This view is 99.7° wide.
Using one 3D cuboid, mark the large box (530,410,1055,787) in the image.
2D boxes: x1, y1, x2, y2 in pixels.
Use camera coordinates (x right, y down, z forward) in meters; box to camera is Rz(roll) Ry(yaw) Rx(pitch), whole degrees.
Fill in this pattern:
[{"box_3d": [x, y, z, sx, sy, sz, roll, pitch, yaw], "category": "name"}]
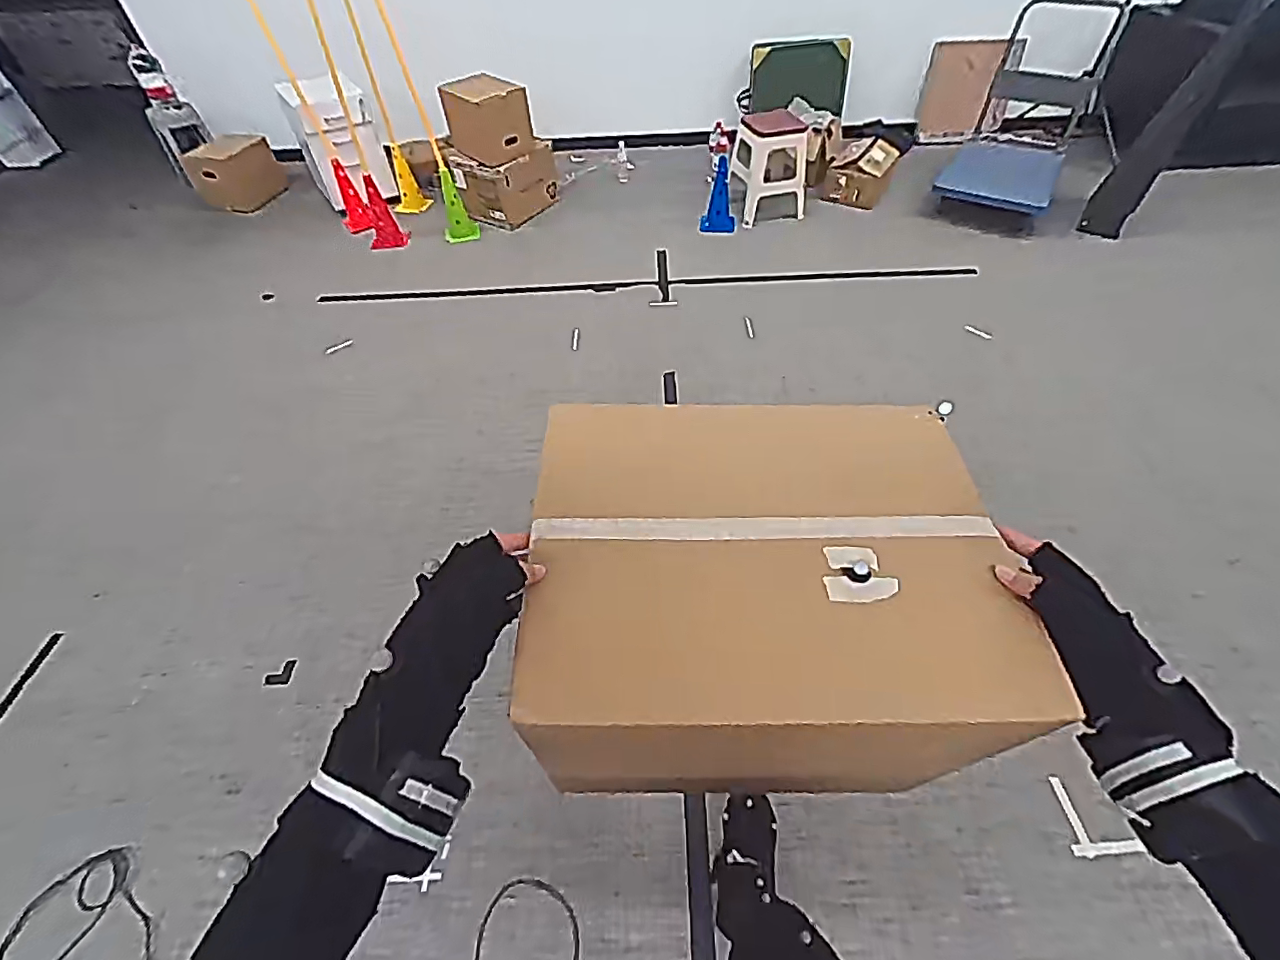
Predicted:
[{"box_3d": [0.107, 0.139, 0.605, 0.408, 0.320, 0.320, 0, 53, -2], "category": "large box"}]
